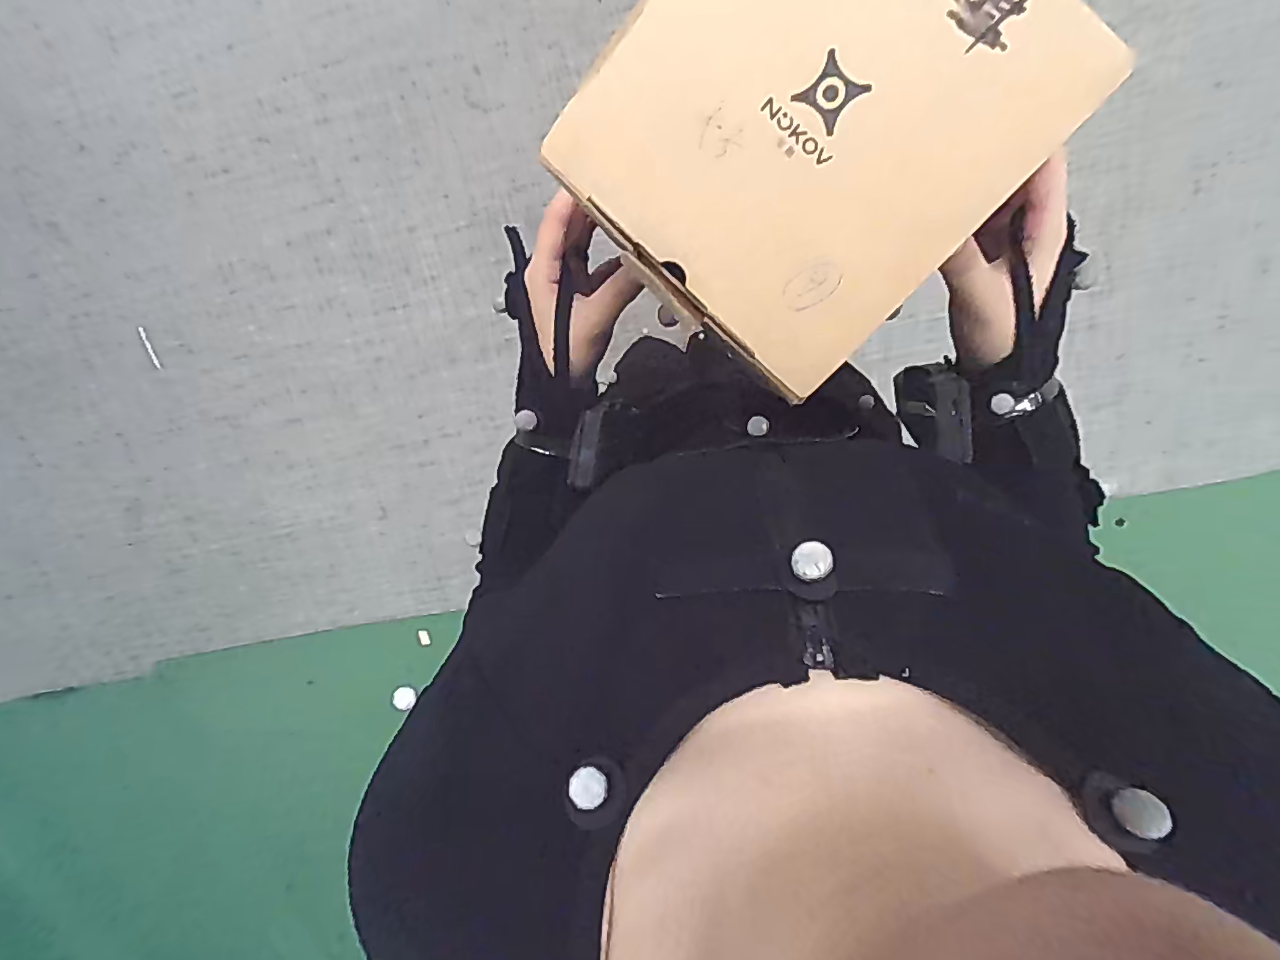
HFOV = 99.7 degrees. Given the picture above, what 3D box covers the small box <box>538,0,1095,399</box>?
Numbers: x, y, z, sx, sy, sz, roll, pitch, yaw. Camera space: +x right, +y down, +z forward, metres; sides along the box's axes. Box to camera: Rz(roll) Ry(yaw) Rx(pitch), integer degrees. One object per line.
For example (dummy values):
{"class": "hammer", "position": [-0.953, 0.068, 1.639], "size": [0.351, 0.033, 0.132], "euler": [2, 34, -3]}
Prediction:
{"class": "small box", "position": [0.079, -0.168, 0.309], "size": [0.168, 0.176, 0.179], "euler": [42, 106, -2]}
